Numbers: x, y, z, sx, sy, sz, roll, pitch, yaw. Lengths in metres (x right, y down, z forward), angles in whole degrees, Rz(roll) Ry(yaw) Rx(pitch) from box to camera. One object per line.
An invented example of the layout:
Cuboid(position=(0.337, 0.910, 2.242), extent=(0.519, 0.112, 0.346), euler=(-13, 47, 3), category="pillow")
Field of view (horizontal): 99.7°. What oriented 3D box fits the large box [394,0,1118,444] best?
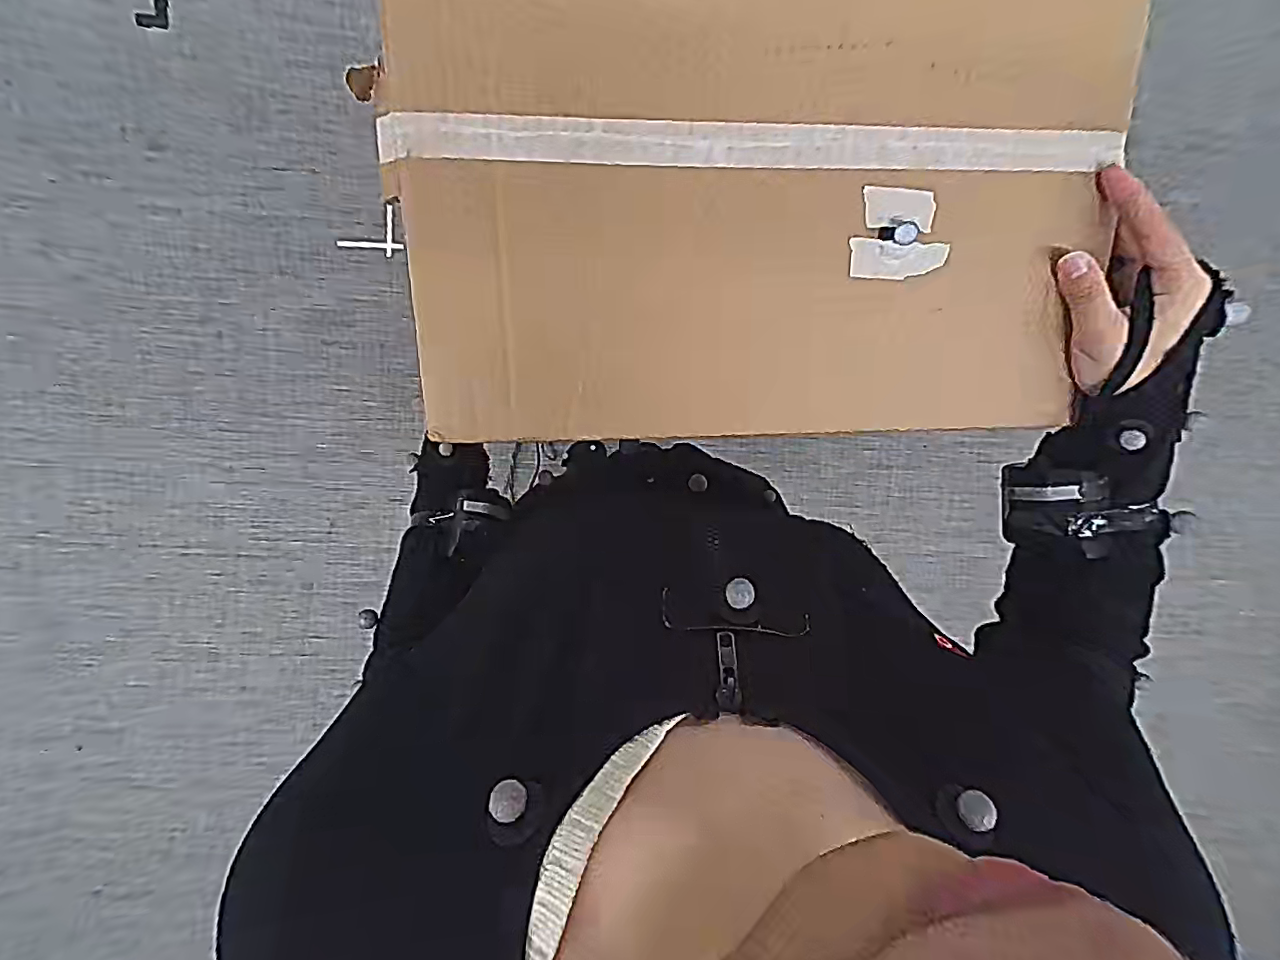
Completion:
Cuboid(position=(0.056, -0.214, 0.449), extent=(0.408, 0.320, 0.320), euler=(-3, 104, -7), category="large box")
